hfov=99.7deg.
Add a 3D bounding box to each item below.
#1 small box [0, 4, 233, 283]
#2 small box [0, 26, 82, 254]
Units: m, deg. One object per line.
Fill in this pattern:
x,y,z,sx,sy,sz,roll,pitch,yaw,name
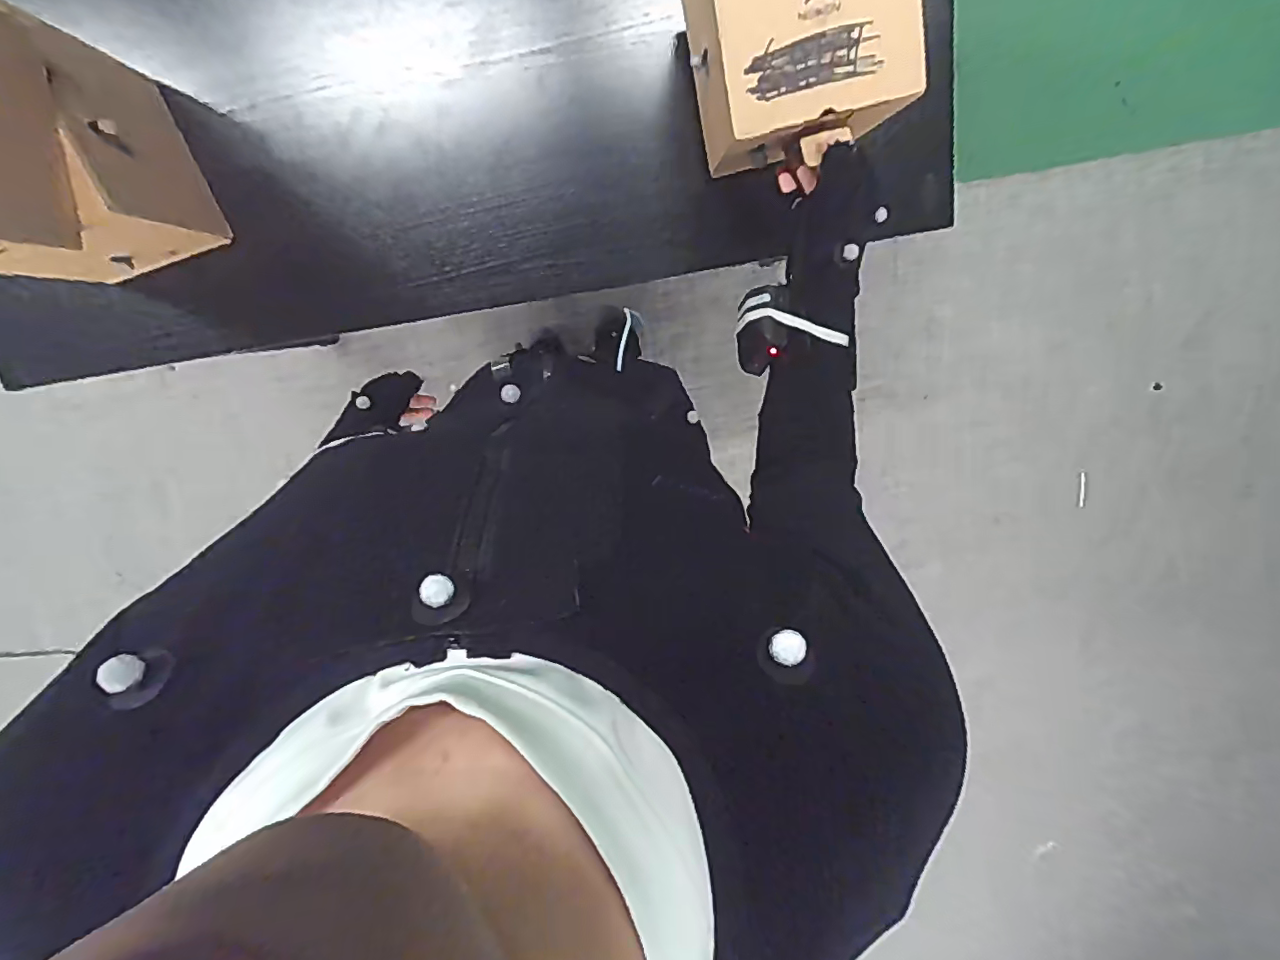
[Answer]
-0.579,-0.315,0.550,0.168,0.176,0.179,-18,107,2,small box
-0.575,-0.268,0.393,0.168,0.176,0.179,2,106,-4,small box
